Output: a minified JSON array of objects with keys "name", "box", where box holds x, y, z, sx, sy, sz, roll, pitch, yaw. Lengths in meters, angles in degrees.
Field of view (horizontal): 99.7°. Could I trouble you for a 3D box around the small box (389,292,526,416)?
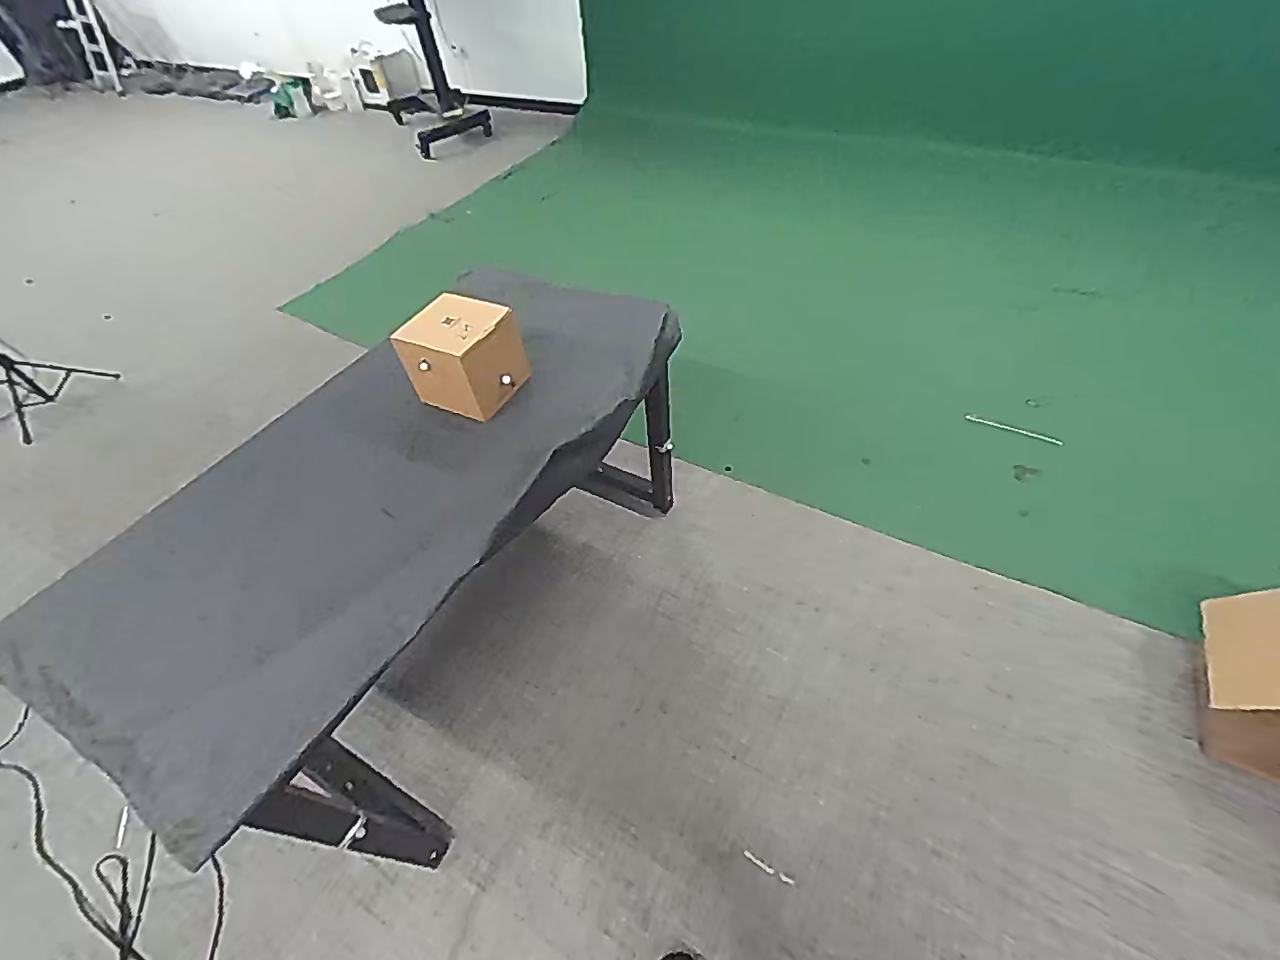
[{"name":"small box","box":[-0.362,-0.254,1.104,0.179,0.176,0.168,19,55,20]}]
